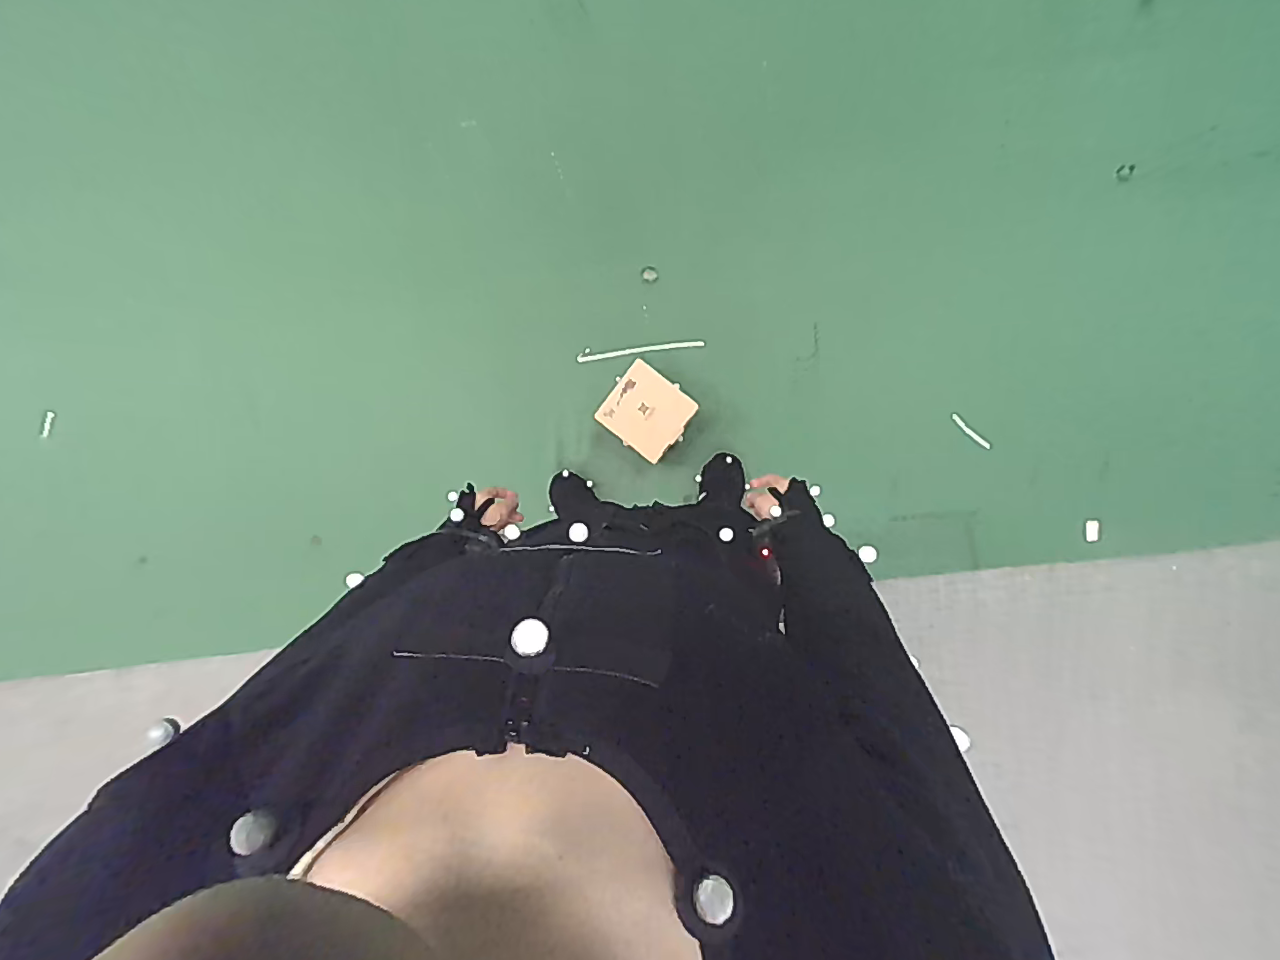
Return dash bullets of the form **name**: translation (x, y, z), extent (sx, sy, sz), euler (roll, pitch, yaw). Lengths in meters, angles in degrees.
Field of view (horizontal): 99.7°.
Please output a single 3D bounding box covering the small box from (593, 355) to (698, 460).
- **small box**: translation (0.016, -0.168, 1.259), extent (0.179, 0.176, 0.168), euler (39, 96, -1)
